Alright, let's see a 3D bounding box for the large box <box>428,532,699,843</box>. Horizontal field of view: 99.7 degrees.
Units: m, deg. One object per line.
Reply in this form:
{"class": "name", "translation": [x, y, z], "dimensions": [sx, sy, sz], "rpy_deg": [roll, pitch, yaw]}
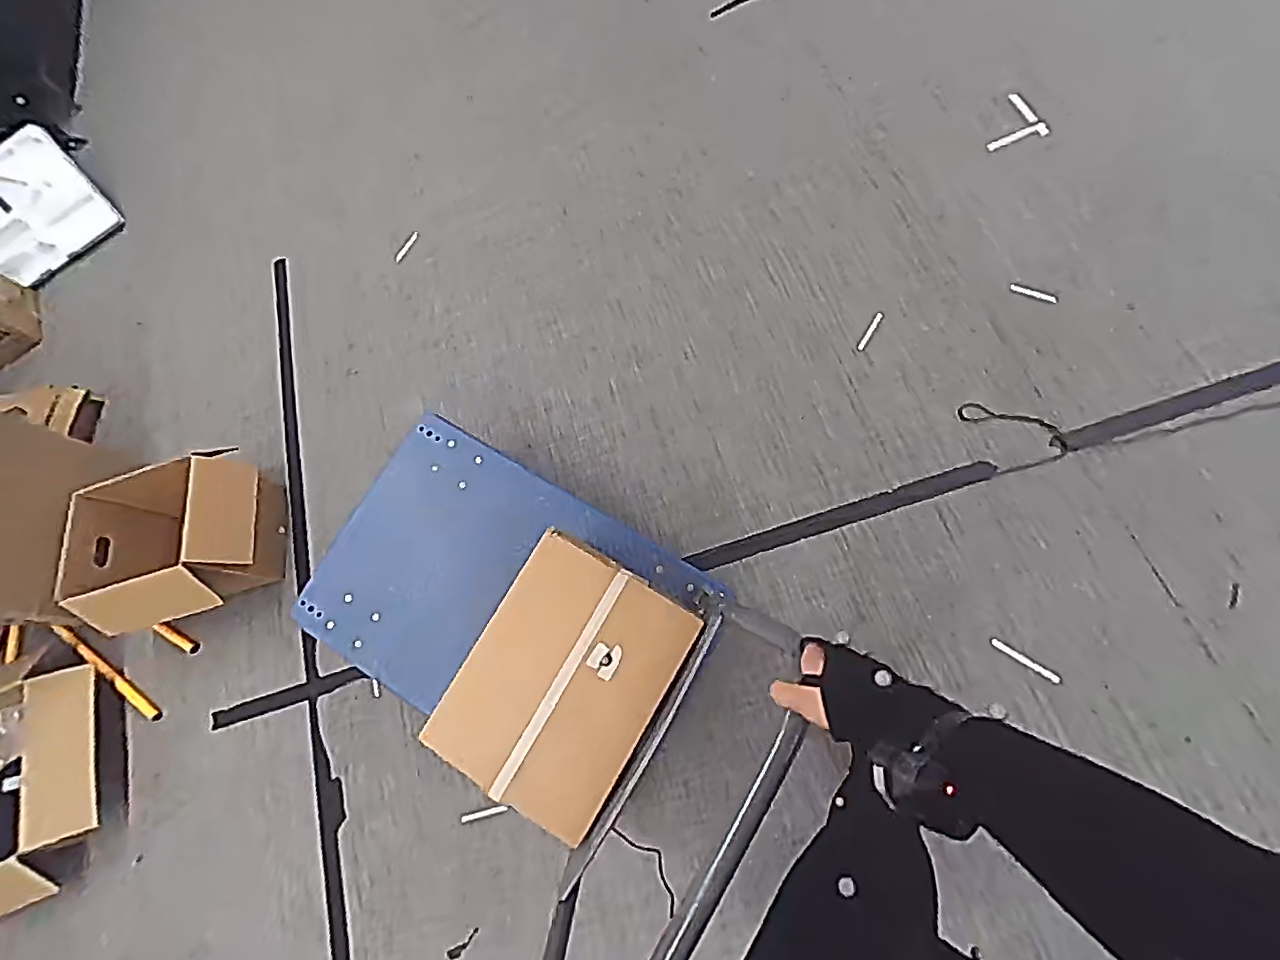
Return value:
{"class": "large box", "translation": [-0.117, 0.364, 1.042], "dimensions": [0.320, 0.320, 0.408], "rpy_deg": [29, 81, 8]}
